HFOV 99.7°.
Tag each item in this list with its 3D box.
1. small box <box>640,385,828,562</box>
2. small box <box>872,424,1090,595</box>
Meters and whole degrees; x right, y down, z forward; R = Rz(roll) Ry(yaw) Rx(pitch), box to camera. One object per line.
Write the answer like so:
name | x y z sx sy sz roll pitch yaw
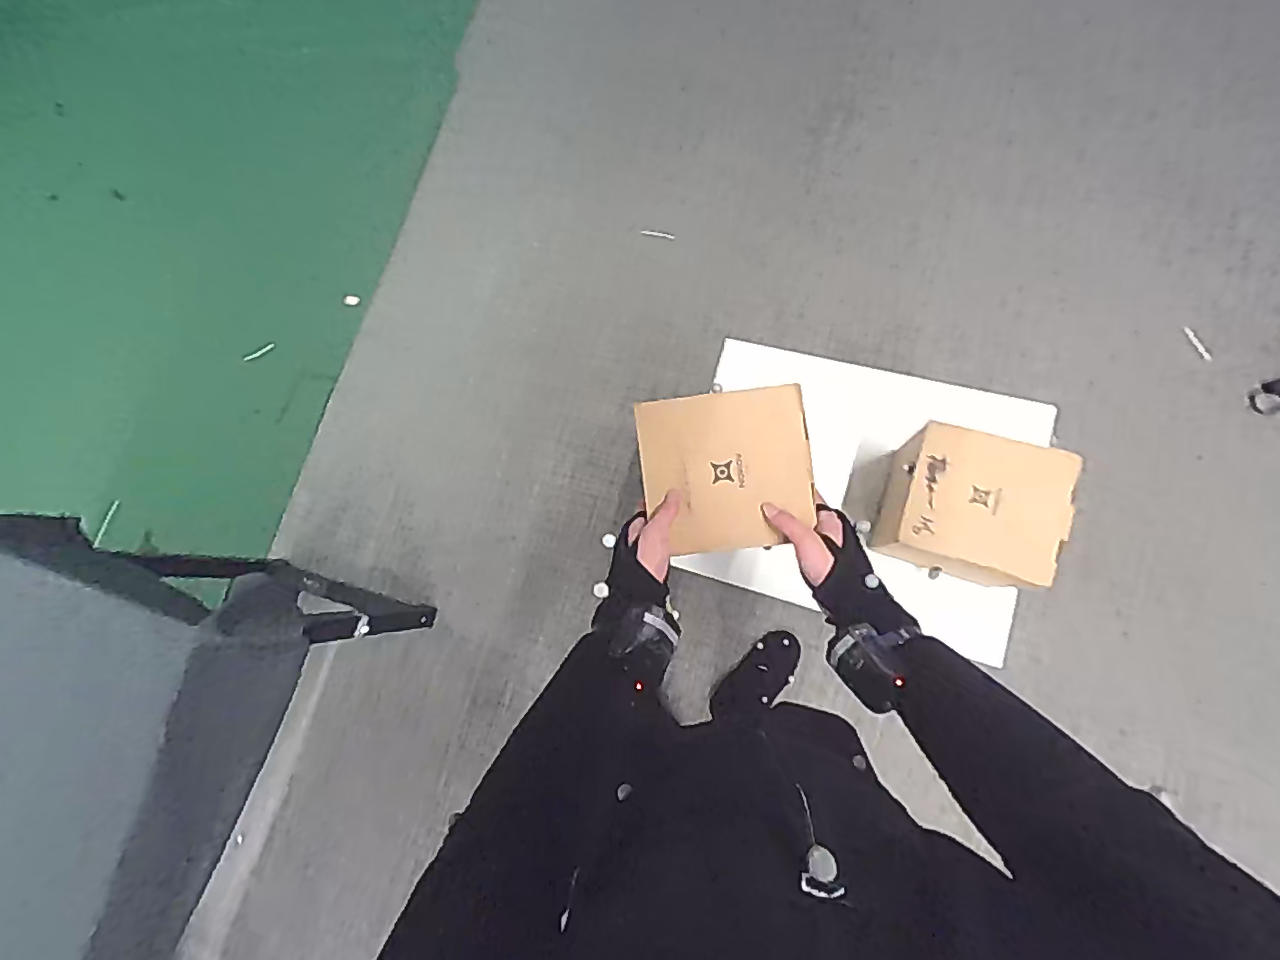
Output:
small box | 0.100 -0.007 0.627 0.179 0.176 0.168 -8 89 5
small box | 0.440 0.044 0.726 0.179 0.176 0.168 18 83 12
